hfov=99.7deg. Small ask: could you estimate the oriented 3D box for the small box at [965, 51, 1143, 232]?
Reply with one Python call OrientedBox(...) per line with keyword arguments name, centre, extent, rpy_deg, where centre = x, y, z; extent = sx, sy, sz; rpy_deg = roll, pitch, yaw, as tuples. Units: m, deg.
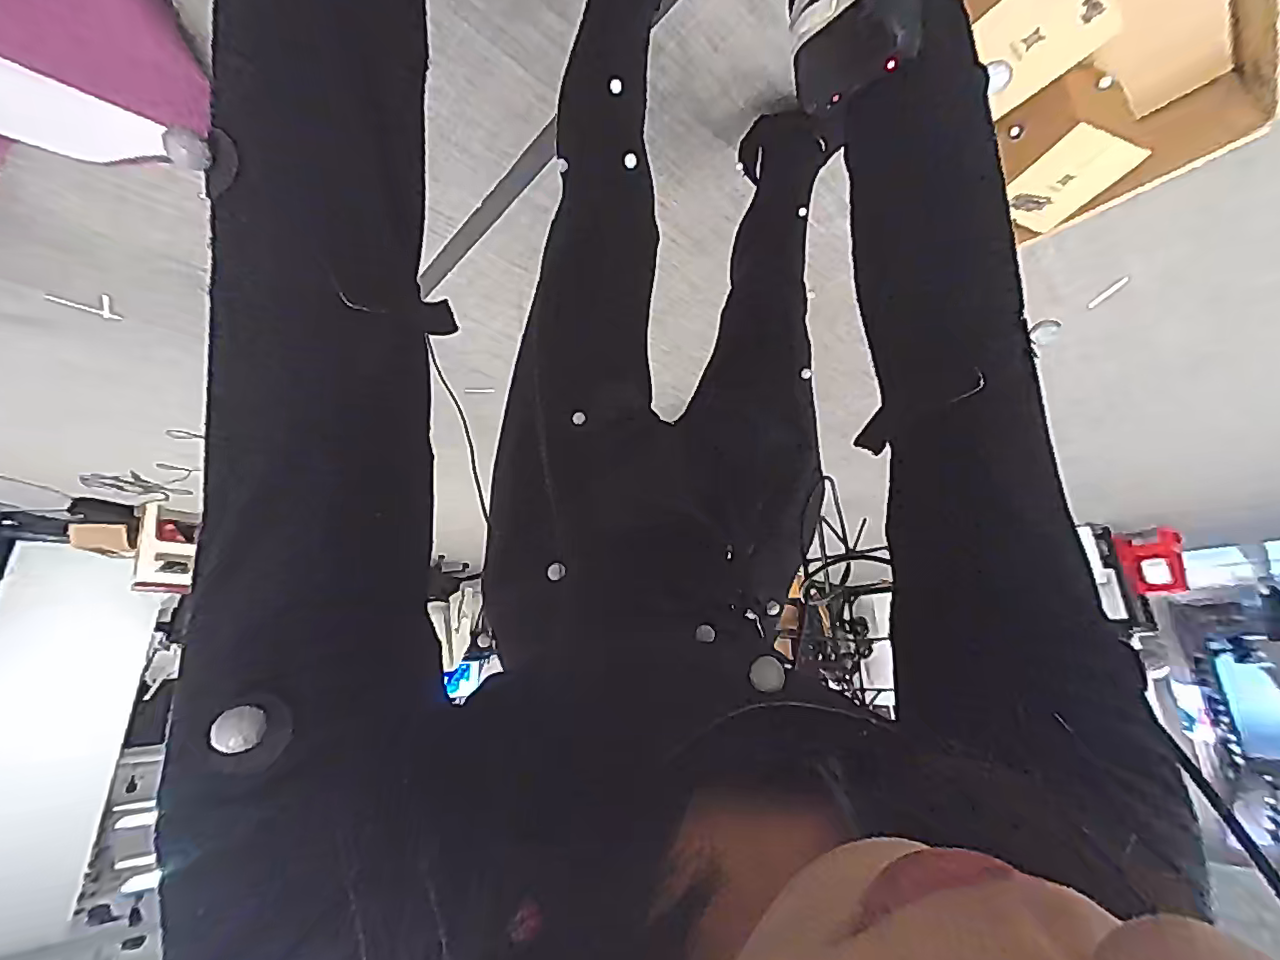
OrientedBox(name="small box", centre=(0.695, -0.573, 0.931), extent=(0.168, 0.176, 0.179), rpy_deg=(7, 158, -19))
